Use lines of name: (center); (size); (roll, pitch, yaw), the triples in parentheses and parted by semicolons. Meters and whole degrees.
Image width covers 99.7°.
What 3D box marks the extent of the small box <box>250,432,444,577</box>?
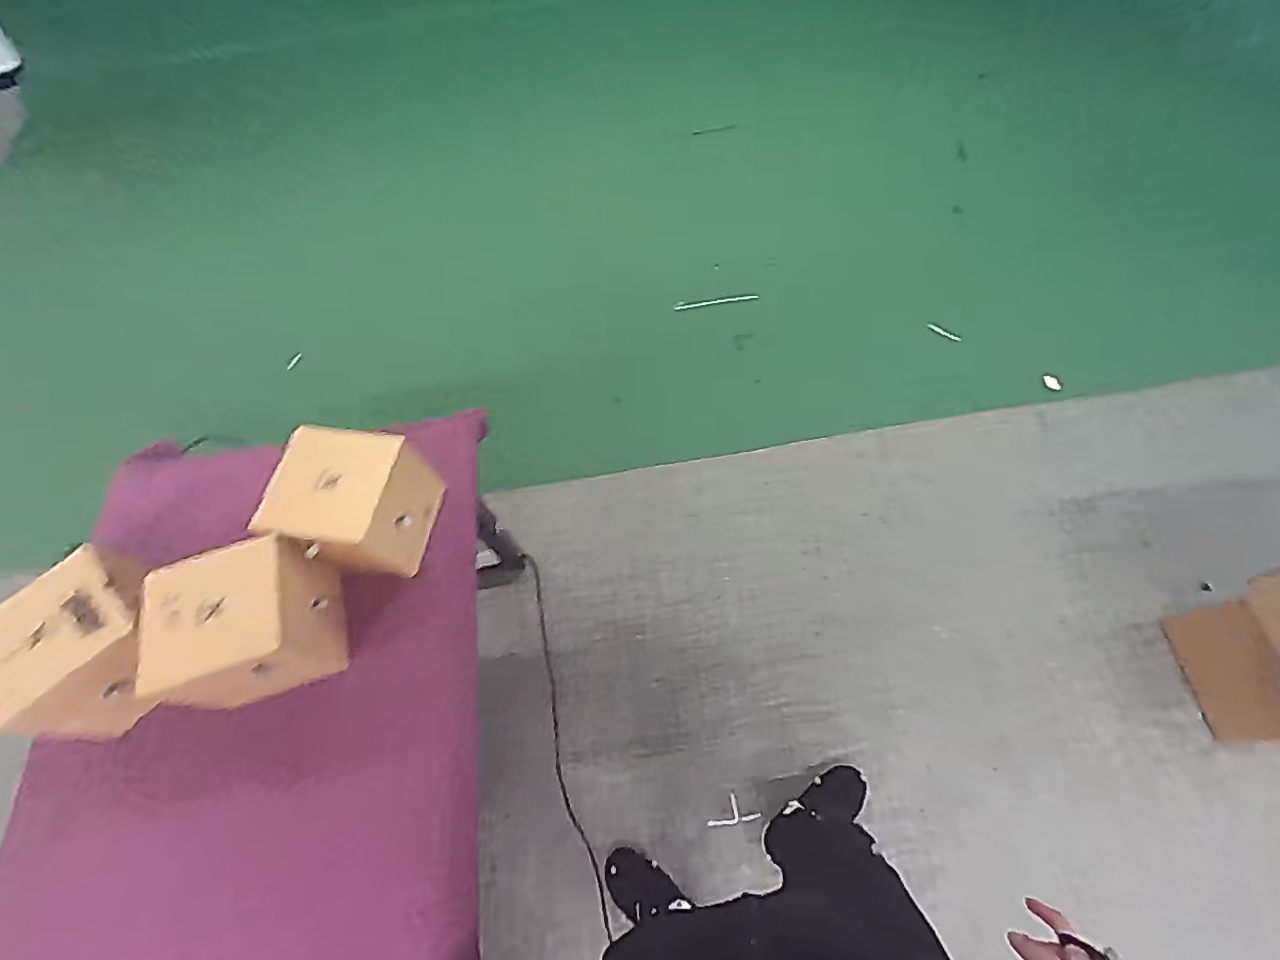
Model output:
small box: (-0.434, 0.044, 0.836); (0.179, 0.176, 0.168); (6, 65, 9)
